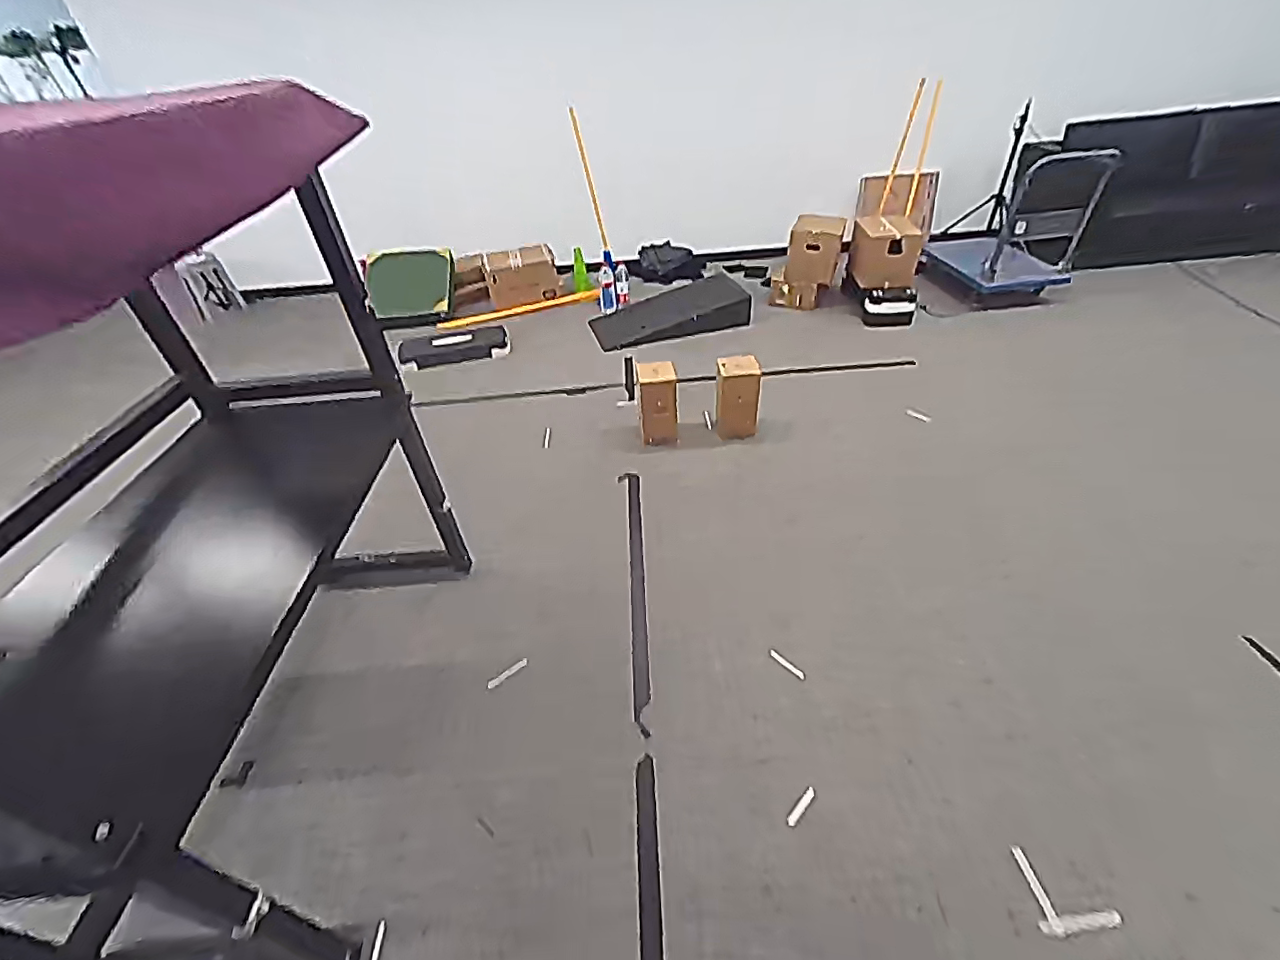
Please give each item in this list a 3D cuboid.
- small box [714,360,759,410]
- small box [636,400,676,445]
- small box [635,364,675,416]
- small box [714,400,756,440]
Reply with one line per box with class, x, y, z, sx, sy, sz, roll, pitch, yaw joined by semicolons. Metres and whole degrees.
small box;0.439;-0.435;2.478;0.179;0.176;0.168;-3;38;1
small box;0.075;-0.278;2.575;0.168;0.176;0.179;-8;39;-4
small box;0.067;-0.411;2.478;0.168;0.176;0.179;-6;39;-2
small box;0.450;-0.307;2.580;0.179;0.176;0.168;-3;39;2
